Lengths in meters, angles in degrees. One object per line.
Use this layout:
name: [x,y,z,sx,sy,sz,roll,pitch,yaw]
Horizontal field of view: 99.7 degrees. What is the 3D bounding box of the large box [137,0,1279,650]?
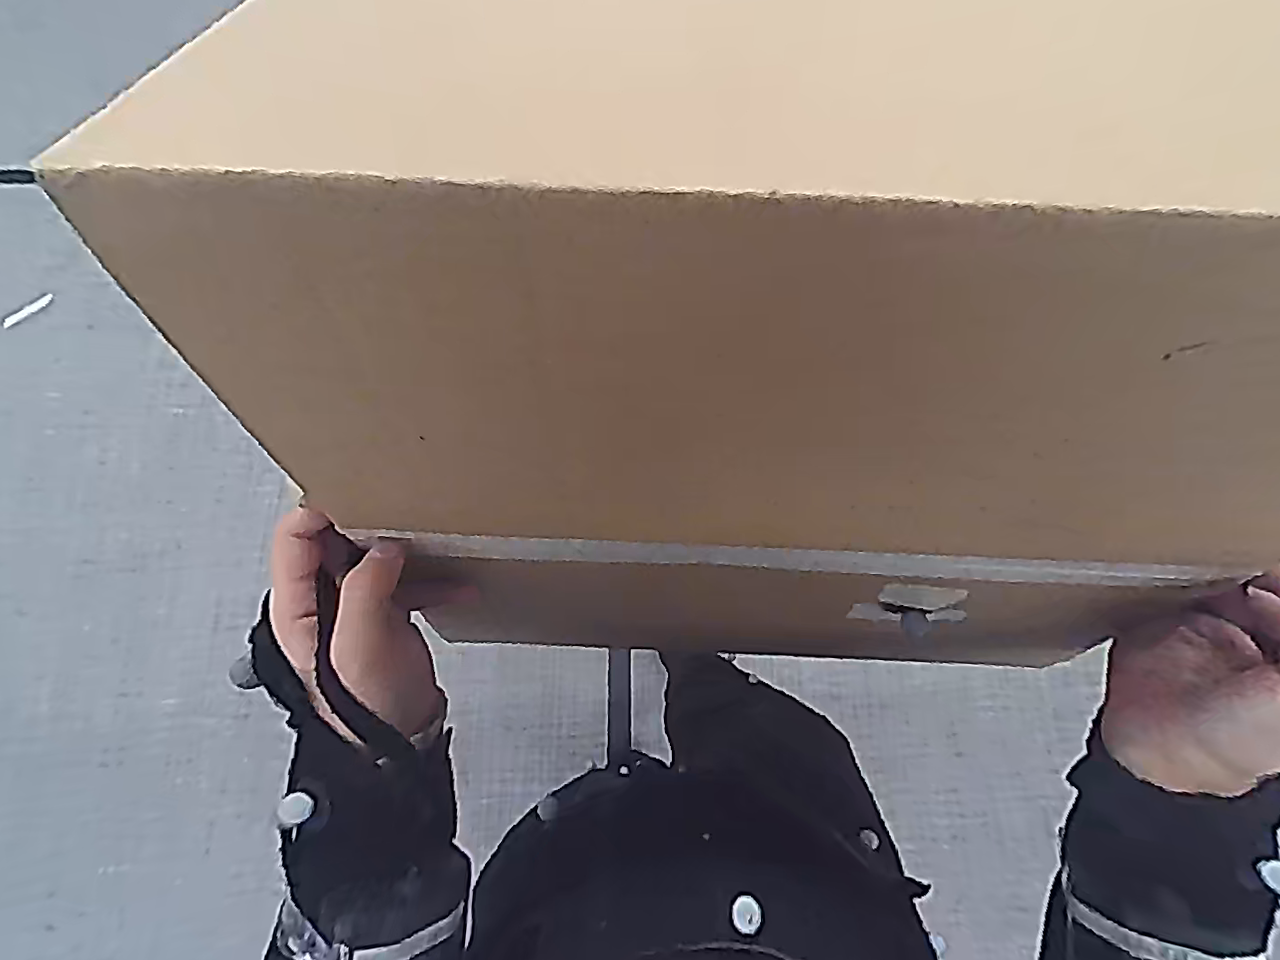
large box: [0.074,-0.097,0.334,0.408,0.320,0.320,2,57,0]
